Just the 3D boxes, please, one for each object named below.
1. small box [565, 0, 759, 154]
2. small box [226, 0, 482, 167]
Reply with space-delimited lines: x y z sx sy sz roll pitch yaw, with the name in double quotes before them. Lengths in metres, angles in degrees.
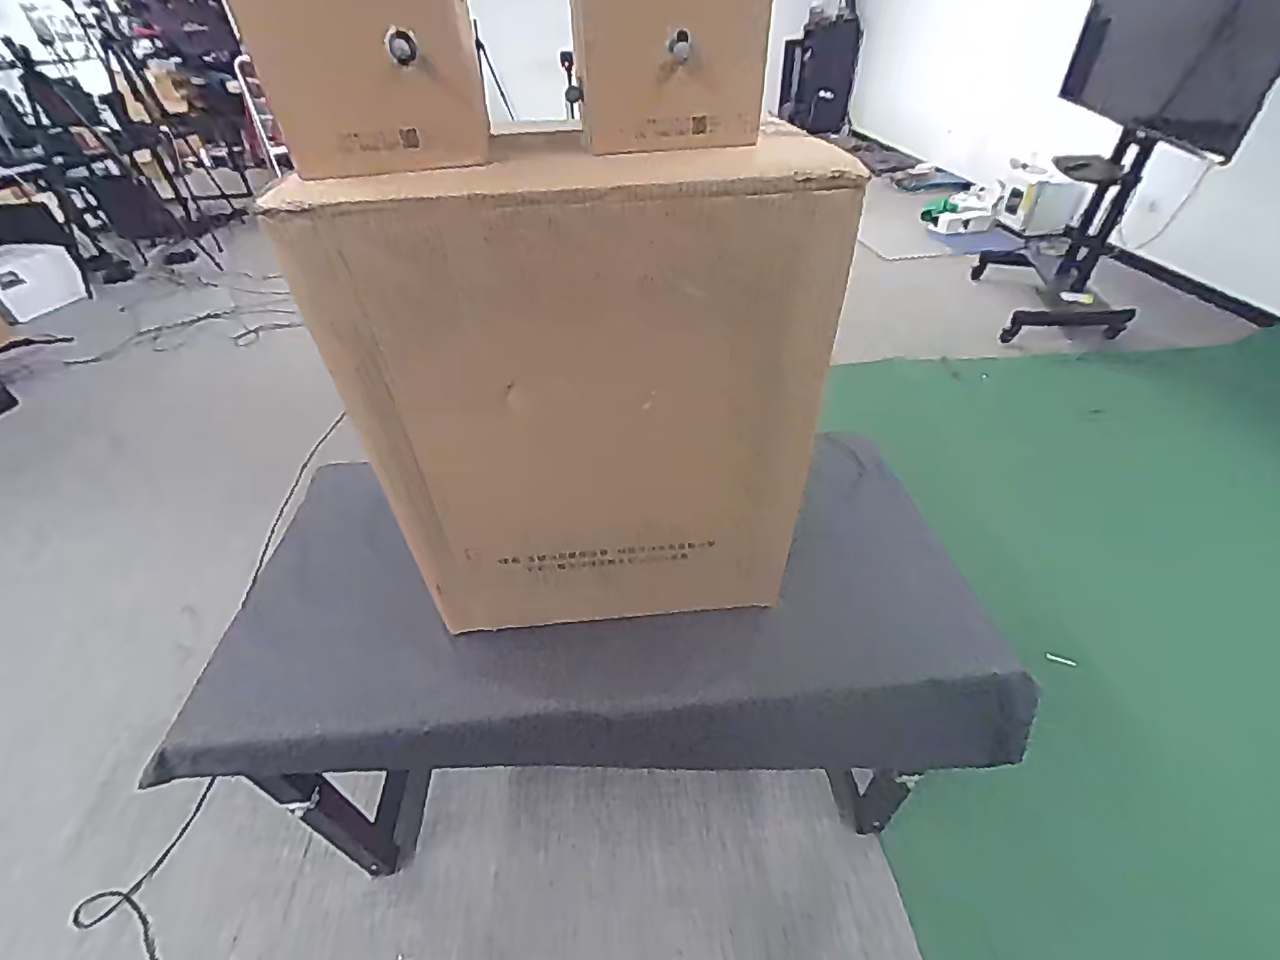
"small box" 0.015 -0.434 0.534 0.168 0.176 0.179 -7 44 -5
"small box" -0.247 -0.401 0.494 0.168 0.176 0.179 -12 45 -8
